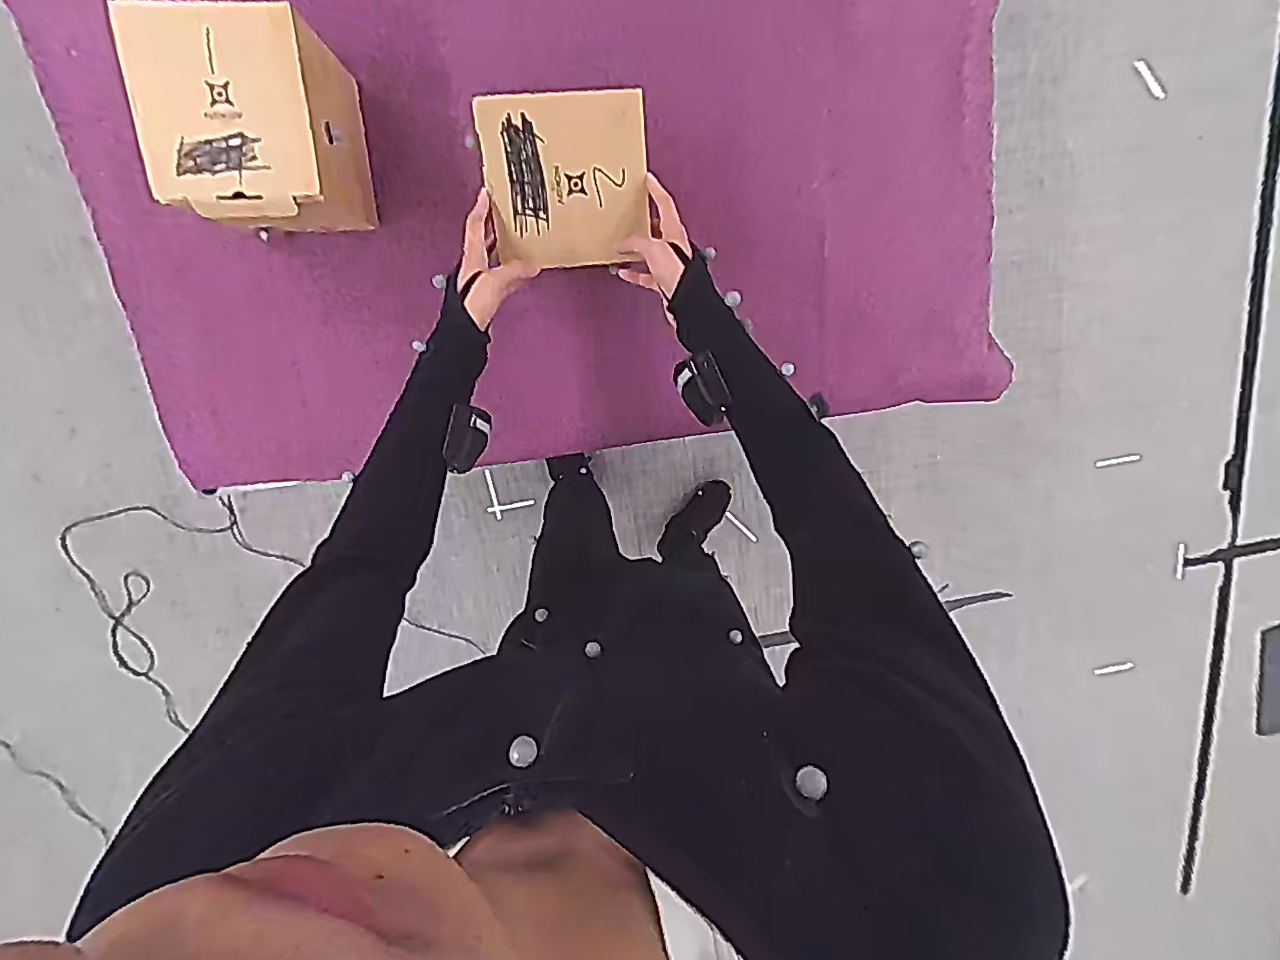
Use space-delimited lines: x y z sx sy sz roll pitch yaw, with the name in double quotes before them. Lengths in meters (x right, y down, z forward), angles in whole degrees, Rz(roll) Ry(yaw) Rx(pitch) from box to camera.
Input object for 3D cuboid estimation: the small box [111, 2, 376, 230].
"small box" -0.419 -0.387 0.611 0.168 0.176 0.179 -4 105 -6
